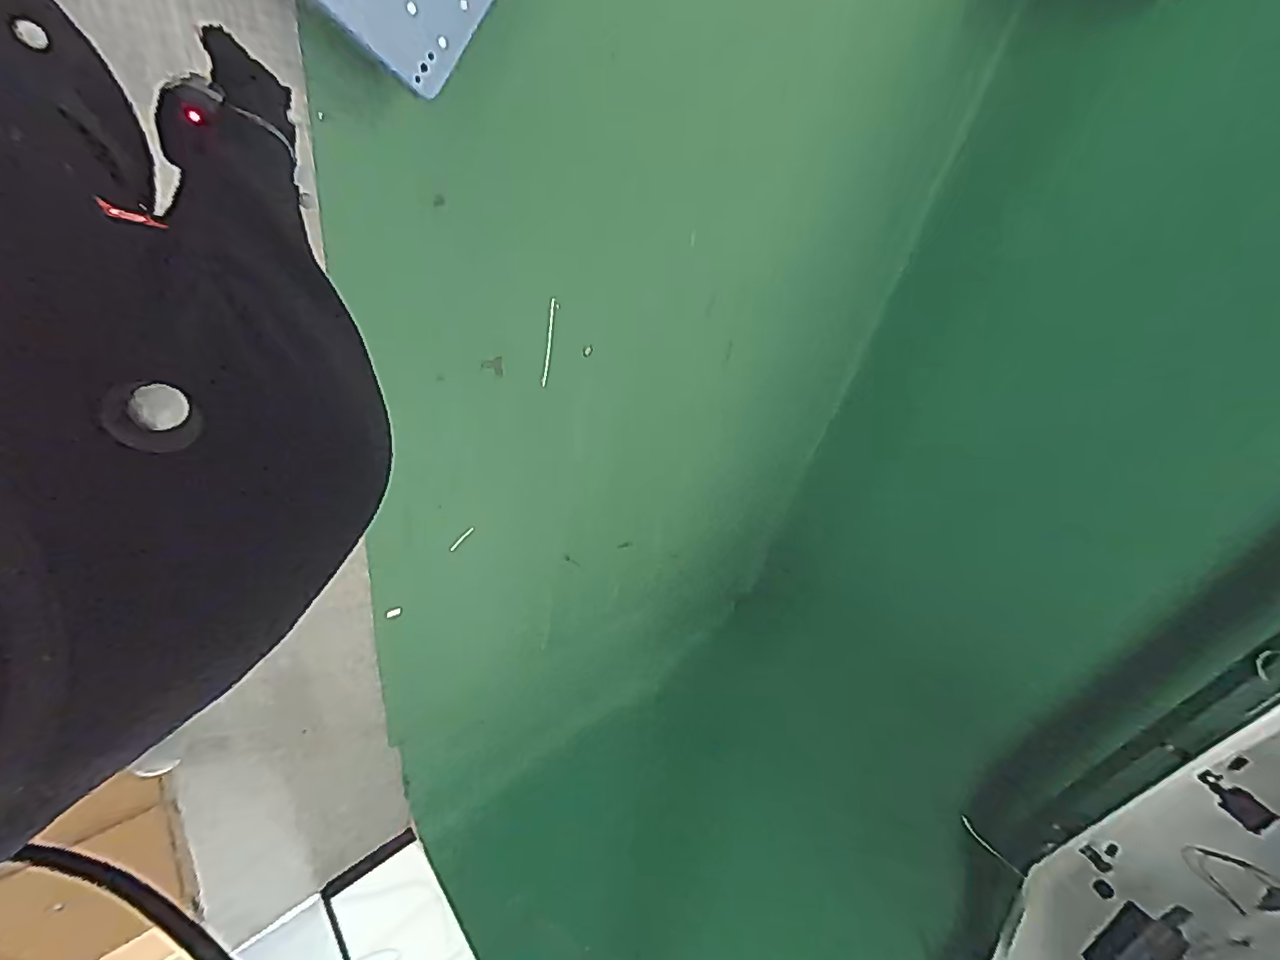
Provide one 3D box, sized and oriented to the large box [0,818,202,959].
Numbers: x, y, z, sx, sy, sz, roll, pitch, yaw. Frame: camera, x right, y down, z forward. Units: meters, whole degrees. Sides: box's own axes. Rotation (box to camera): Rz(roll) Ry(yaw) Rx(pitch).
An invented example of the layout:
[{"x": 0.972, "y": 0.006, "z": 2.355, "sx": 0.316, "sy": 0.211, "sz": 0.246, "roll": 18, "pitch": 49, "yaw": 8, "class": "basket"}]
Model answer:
[{"x": -1.343, "y": 1.121, "z": 1.271, "sx": 0.408, "sy": 0.320, "sz": 0.320, "roll": -19, "pitch": 133, "yaw": -41, "class": "large box"}]
